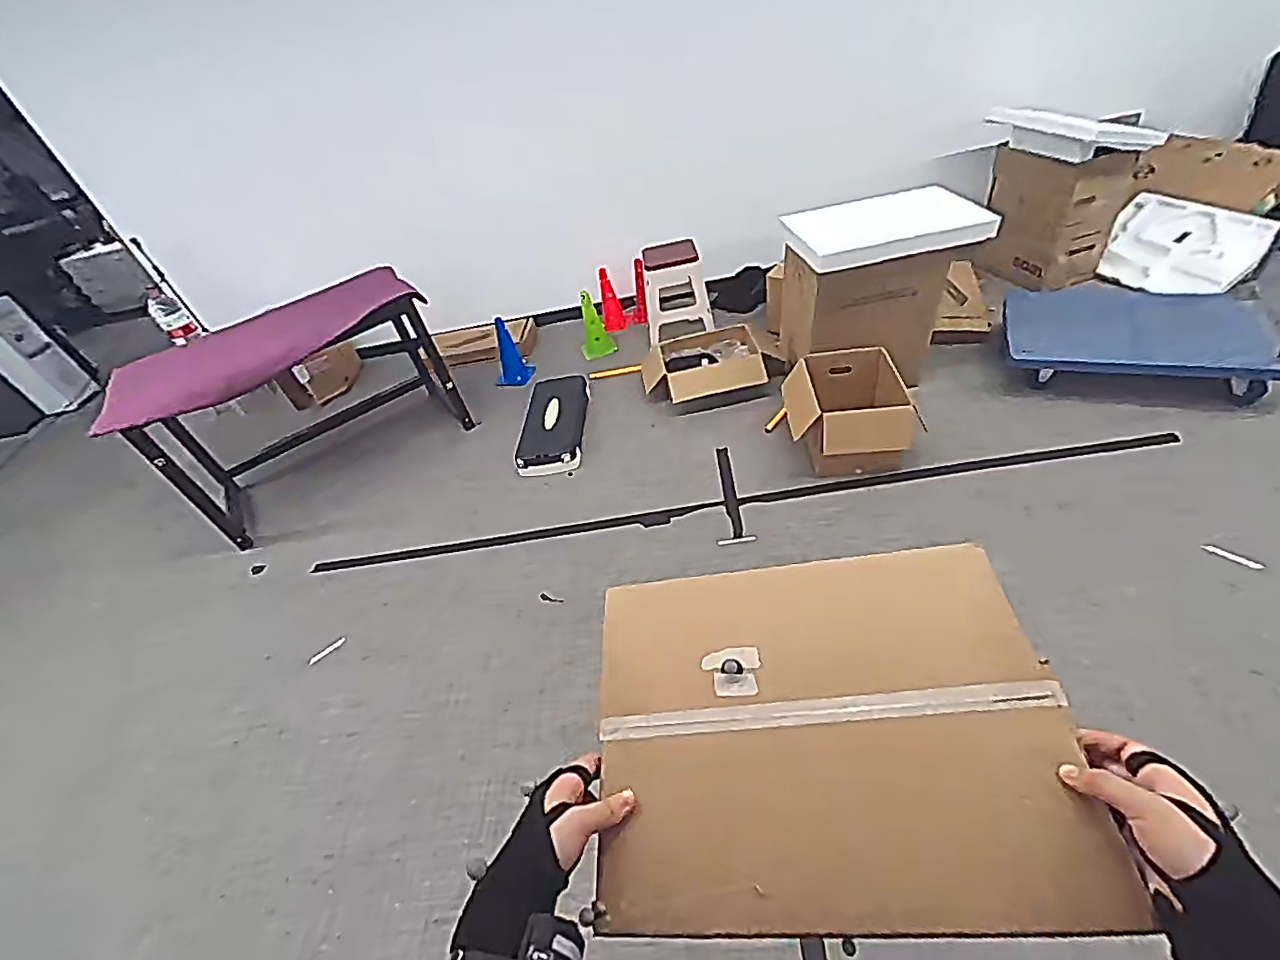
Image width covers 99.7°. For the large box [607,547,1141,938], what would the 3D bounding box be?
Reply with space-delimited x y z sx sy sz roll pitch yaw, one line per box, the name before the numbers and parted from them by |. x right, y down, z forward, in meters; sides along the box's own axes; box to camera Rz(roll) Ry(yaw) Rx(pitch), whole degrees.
large box | 0.201 0.314 0.620 0.408 0.320 0.320 -11 48 11
